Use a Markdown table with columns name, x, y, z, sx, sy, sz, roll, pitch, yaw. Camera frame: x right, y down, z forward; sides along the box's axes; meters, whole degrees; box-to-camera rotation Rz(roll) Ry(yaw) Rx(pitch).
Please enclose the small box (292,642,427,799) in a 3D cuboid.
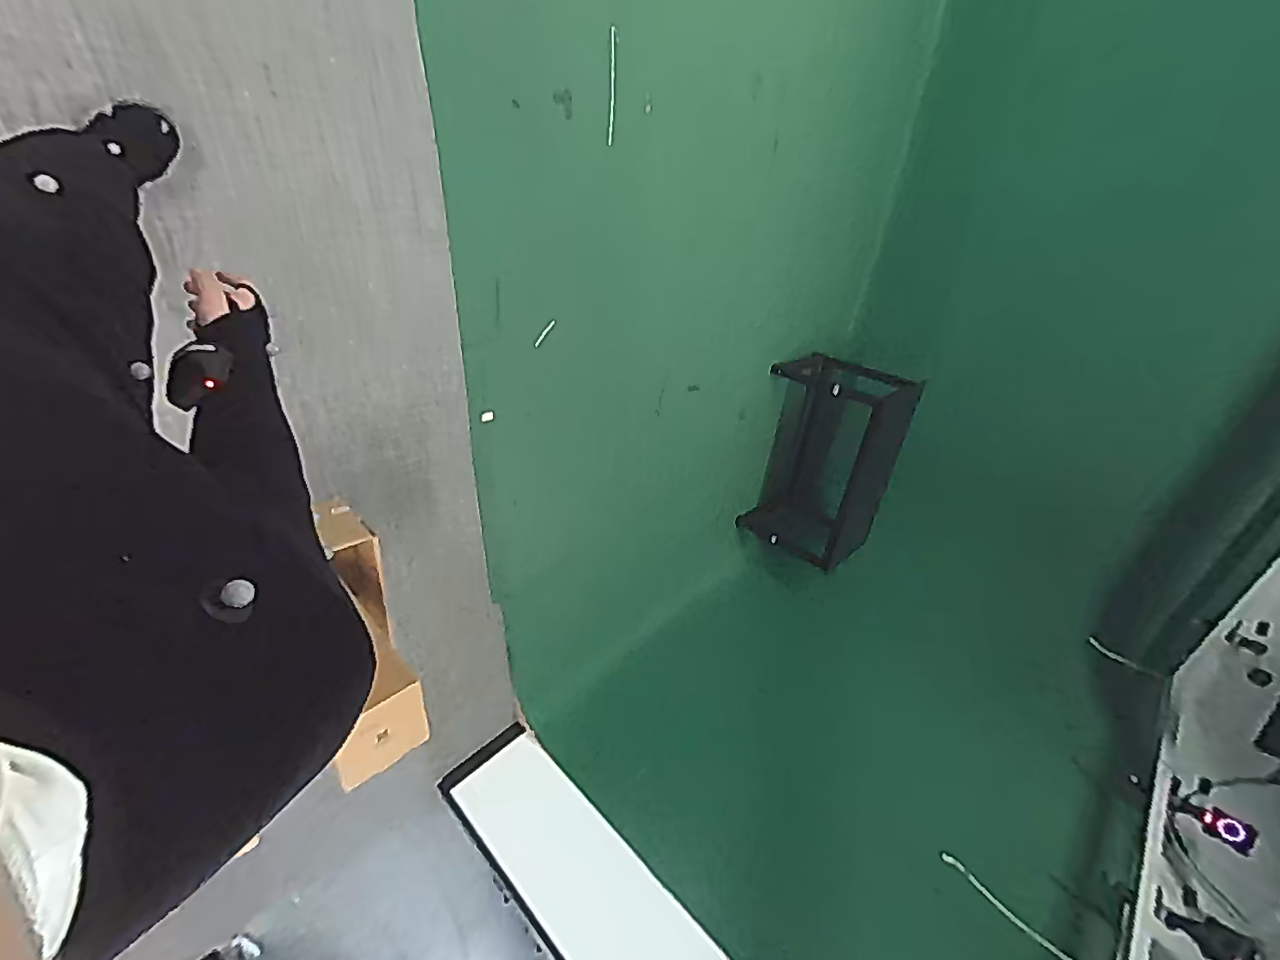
| name | x | y | z | sx | sy | sz | roll | pitch | yaw |
| --- | --- | --- | --- | --- | --- | --- | --- | --- | --- |
| small box | -0.531 | 0.447 | 1.029 | 0.168 | 0.176 | 0.179 | -25 | 132 | -41 |
